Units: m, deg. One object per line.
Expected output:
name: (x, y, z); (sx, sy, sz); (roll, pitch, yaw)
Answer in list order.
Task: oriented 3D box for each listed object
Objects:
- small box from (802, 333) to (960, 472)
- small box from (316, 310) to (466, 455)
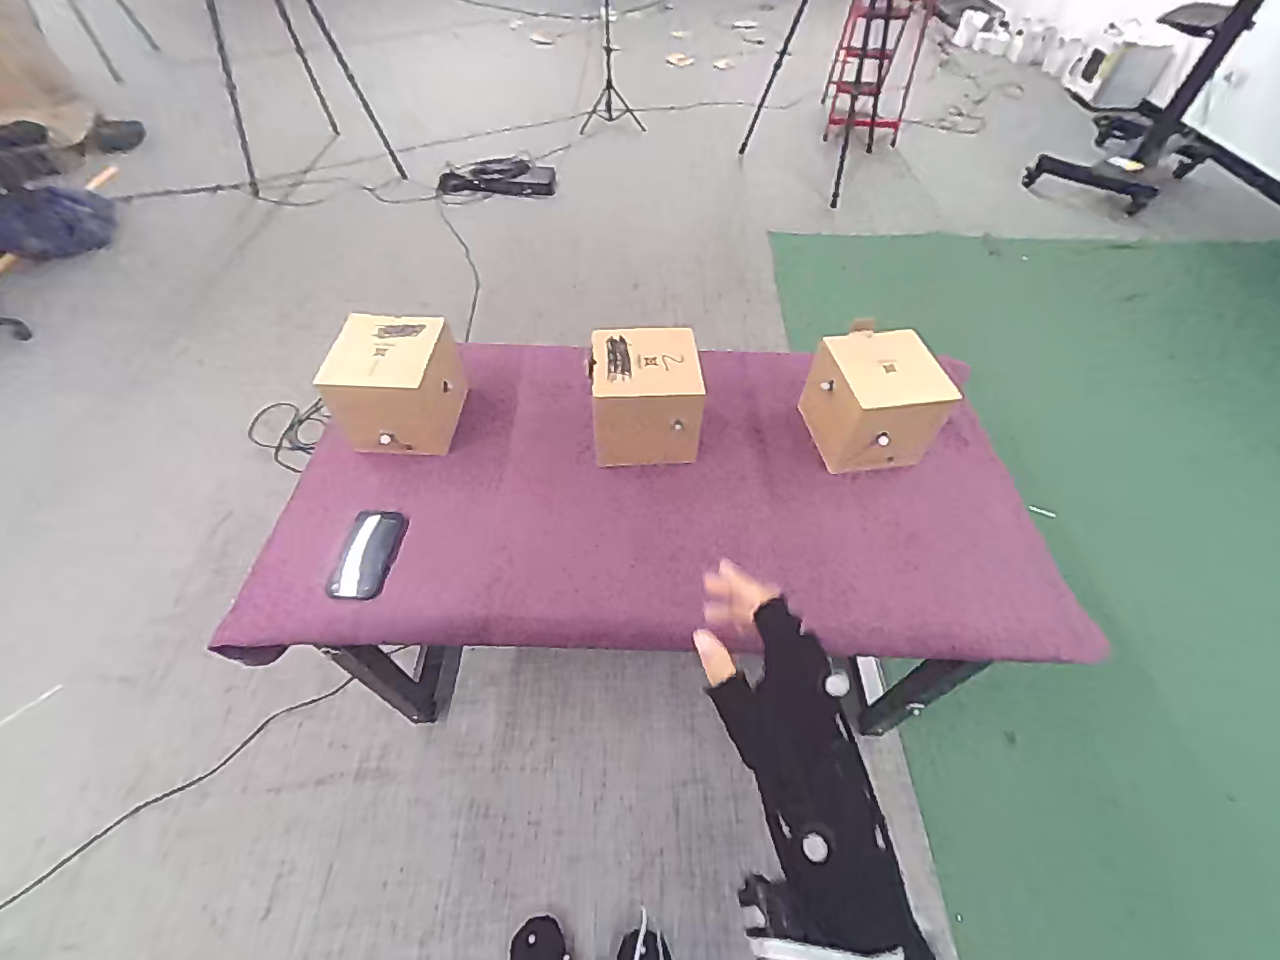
small box: (0.400, -0.126, 0.933); (0.168, 0.176, 0.179); (-6, 52, -6)
small box: (-0.413, -0.167, 0.936); (0.168, 0.176, 0.179); (3, 54, 1)
